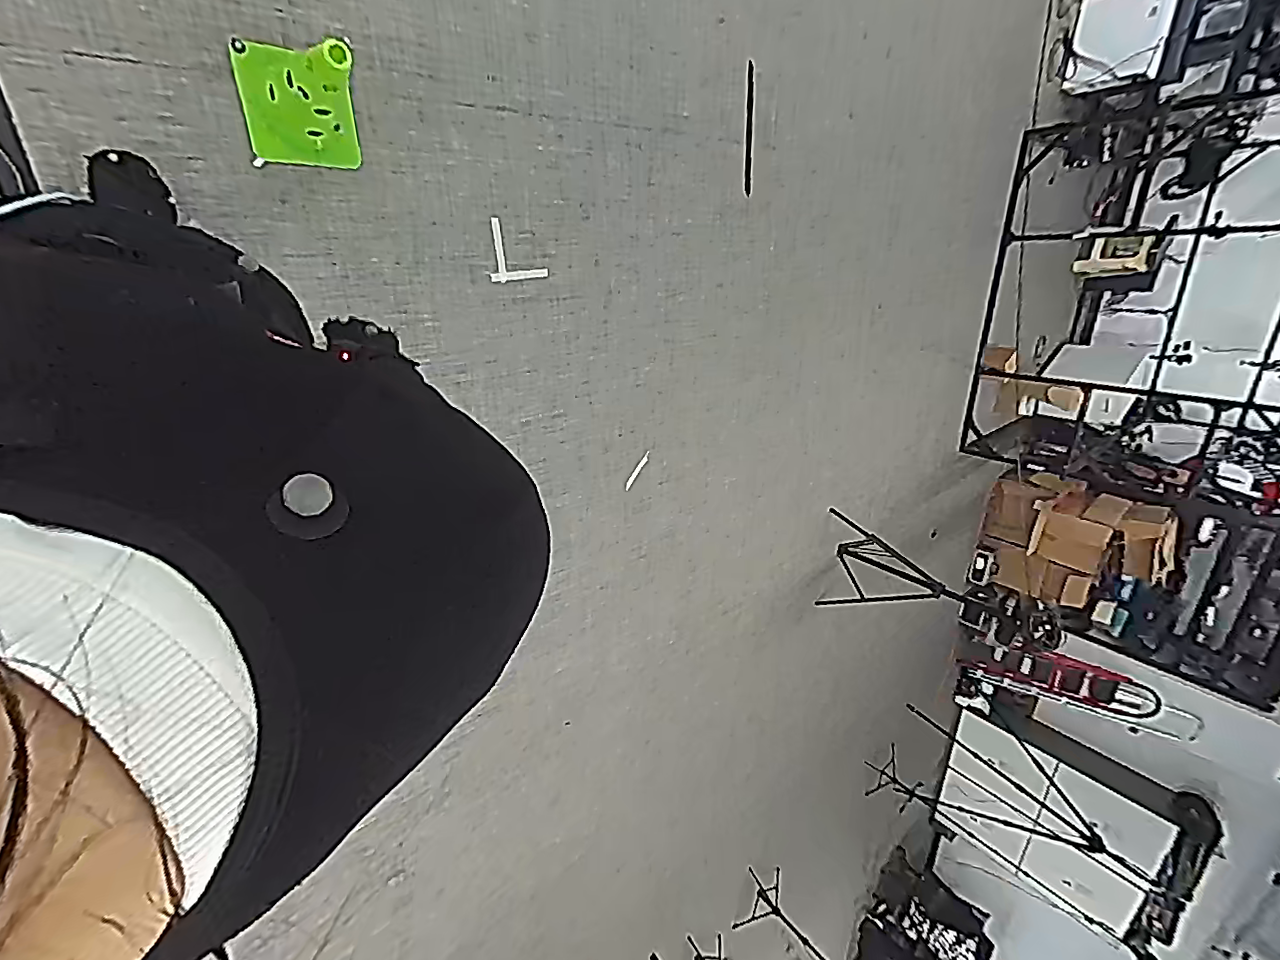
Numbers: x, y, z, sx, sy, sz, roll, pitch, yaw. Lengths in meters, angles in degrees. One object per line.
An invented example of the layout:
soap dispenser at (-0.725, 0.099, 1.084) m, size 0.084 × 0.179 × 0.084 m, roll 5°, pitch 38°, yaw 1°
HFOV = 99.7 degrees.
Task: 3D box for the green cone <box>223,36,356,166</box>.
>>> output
green cone at (-0.581, -0.703, 0.962) m, size 0.202 × 0.368 × 0.200 m, roll -19°, pitch 118°, yaw -37°
